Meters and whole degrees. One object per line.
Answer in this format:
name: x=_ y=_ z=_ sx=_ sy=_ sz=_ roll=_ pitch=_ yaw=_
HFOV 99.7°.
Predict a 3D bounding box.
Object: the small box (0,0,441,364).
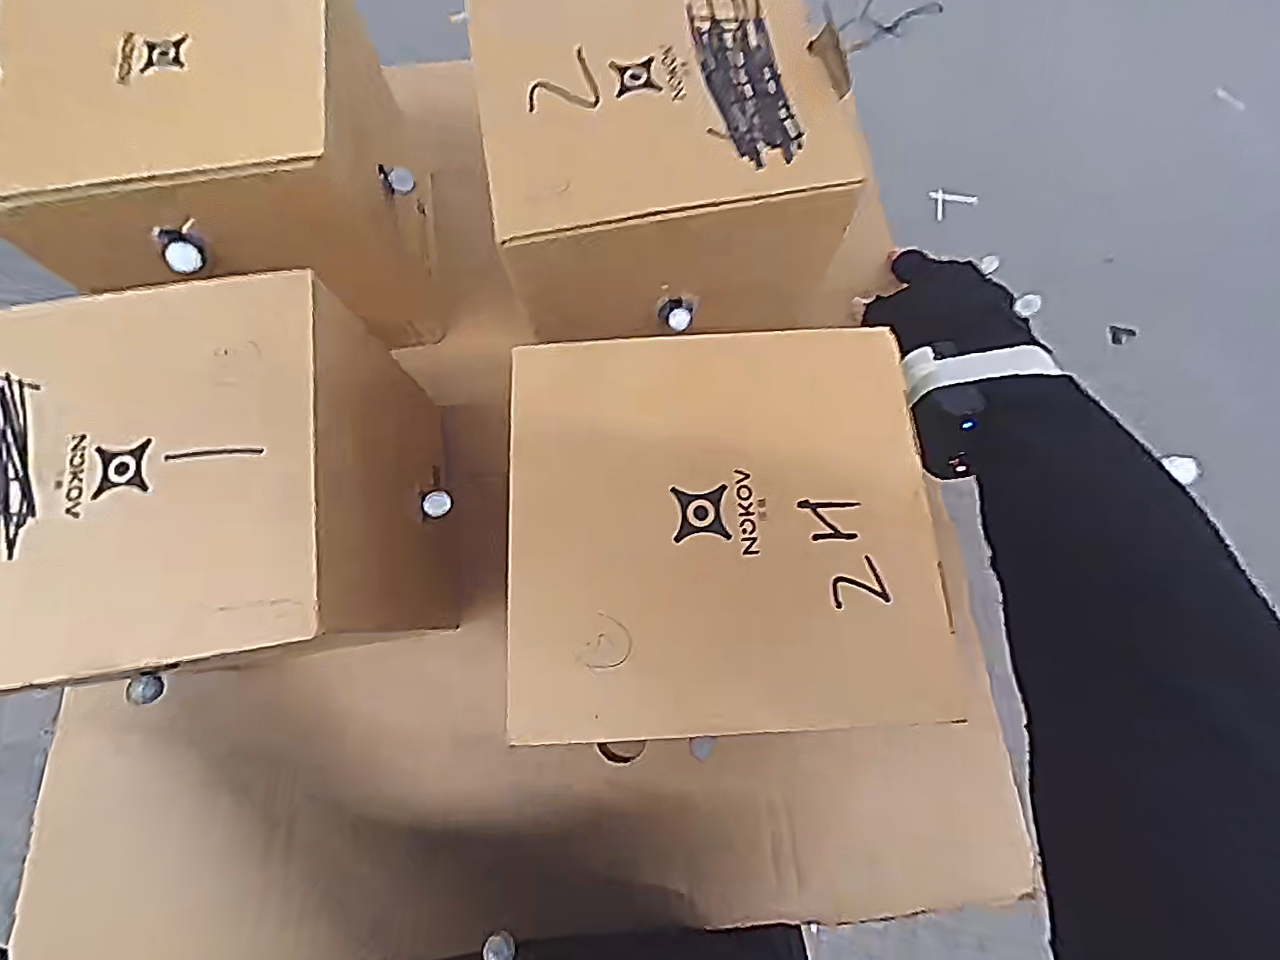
small box: x=-0.244 y=-0.196 z=0.362 sx=0.179 sy=0.176 sz=0.168 roll=-9 pitch=73 yaw=-1
